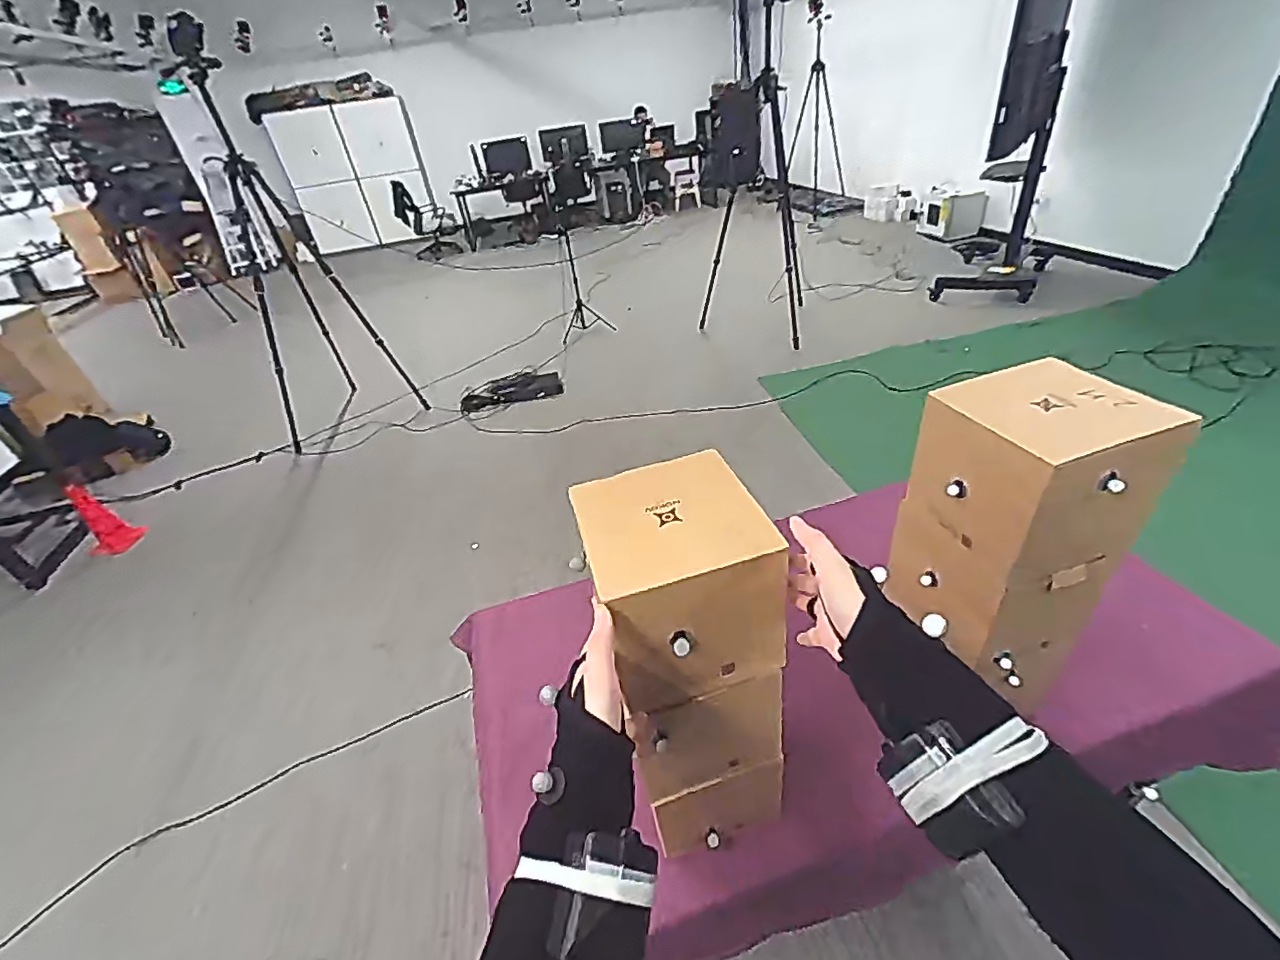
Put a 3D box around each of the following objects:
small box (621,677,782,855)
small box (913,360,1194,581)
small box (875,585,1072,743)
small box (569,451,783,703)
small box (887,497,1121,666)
[{"bbox_3d":[0.079,0.366,0.741,0.168,0.176,0.179,-16,37,-8],"label":"small box"},{"bbox_3d":[0.438,-0.011,0.612,0.179,0.176,0.168,-15,37,-9],"label":"small box"},{"bbox_3d":[0.477,0.250,0.808,0.168,0.176,0.179,-17,36,-8],"label":"small box"},{"bbox_3d":[0.036,0.101,0.554,0.168,0.176,0.179,-16,35,-8],"label":"small box"},{"bbox_3d":[0.457,0.118,0.713,0.168,0.176,0.179,-16,36,-10],"label":"small box"}]
